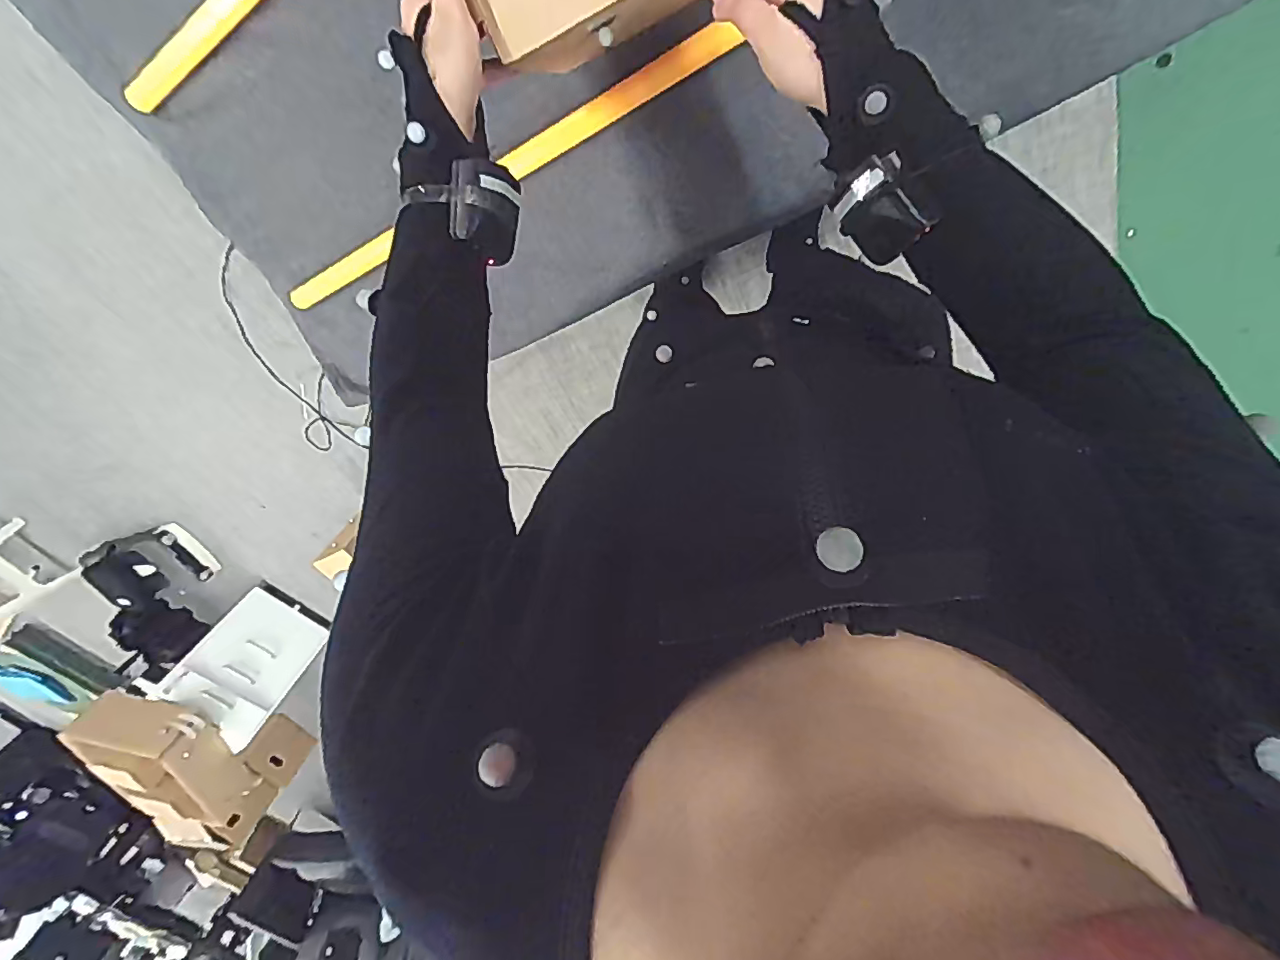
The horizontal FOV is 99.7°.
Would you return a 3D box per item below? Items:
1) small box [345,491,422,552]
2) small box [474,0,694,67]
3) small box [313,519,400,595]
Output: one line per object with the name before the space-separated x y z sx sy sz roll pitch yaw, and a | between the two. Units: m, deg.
small box | -0.927 0.165 1.973 0.179 0.176 0.168 -20 120 25
small box | -0.042 -0.440 0.405 0.179 0.176 0.168 -14 123 21
small box | -0.951 0.258 1.838 0.179 0.176 0.168 -22 119 26
